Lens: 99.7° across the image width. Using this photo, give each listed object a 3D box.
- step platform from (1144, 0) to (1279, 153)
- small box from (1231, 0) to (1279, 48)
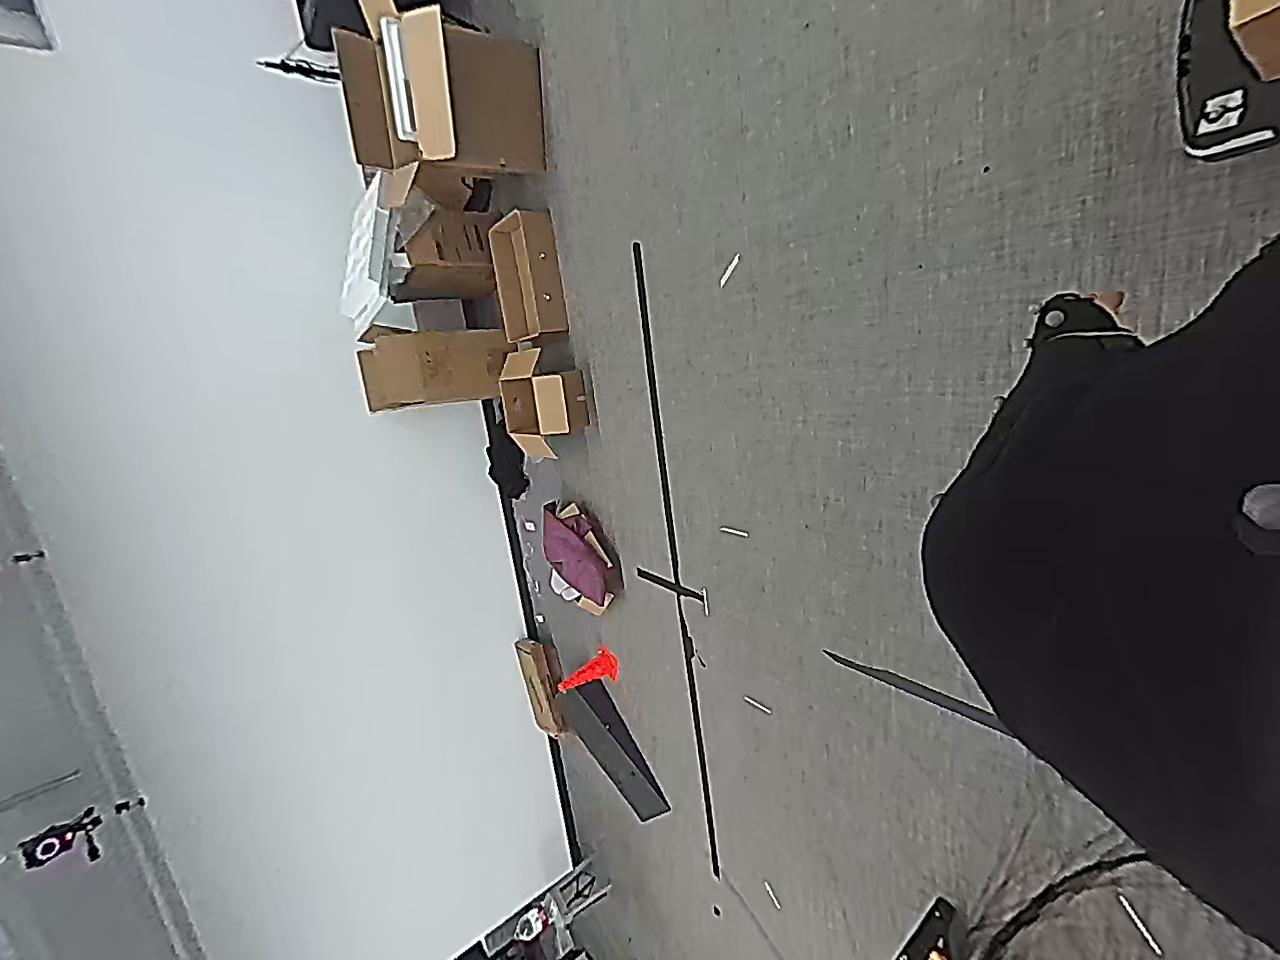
[{"bbox_3d":[0.982,-0.604,0.536,0.684,0.204,0.286,7,109,53],"label":"step platform"},{"bbox_3d":[0.782,-0.620,0.585,0.179,0.176,0.168,3,106,54],"label":"small box"}]
